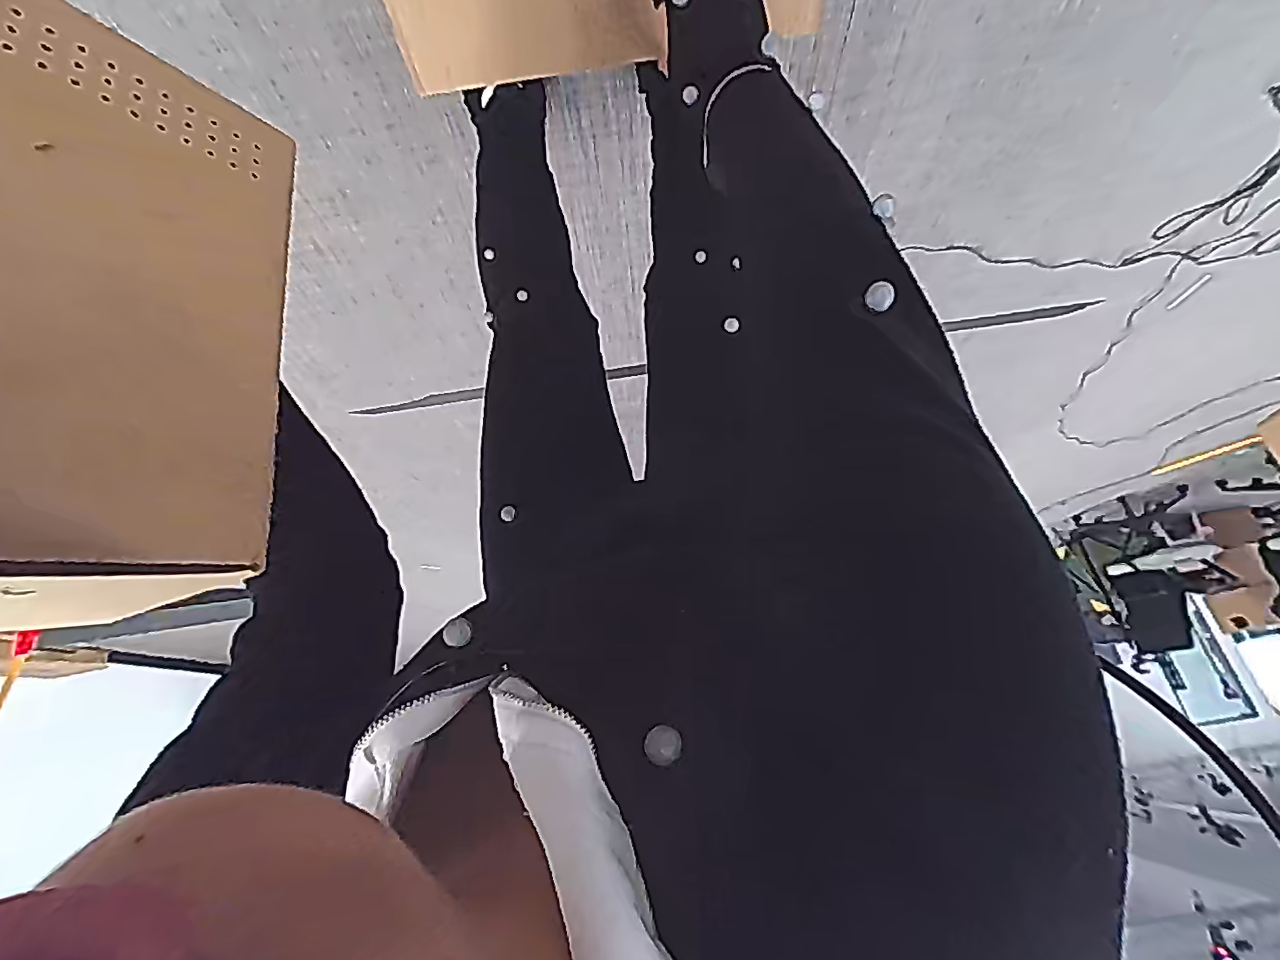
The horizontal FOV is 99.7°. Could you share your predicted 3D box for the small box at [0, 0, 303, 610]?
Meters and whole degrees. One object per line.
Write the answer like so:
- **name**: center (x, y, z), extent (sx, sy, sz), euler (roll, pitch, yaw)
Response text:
- **small box**: center (-0.234, -0.052, 0.170), extent (0.168, 0.176, 0.179), euler (-17, 161, 32)
